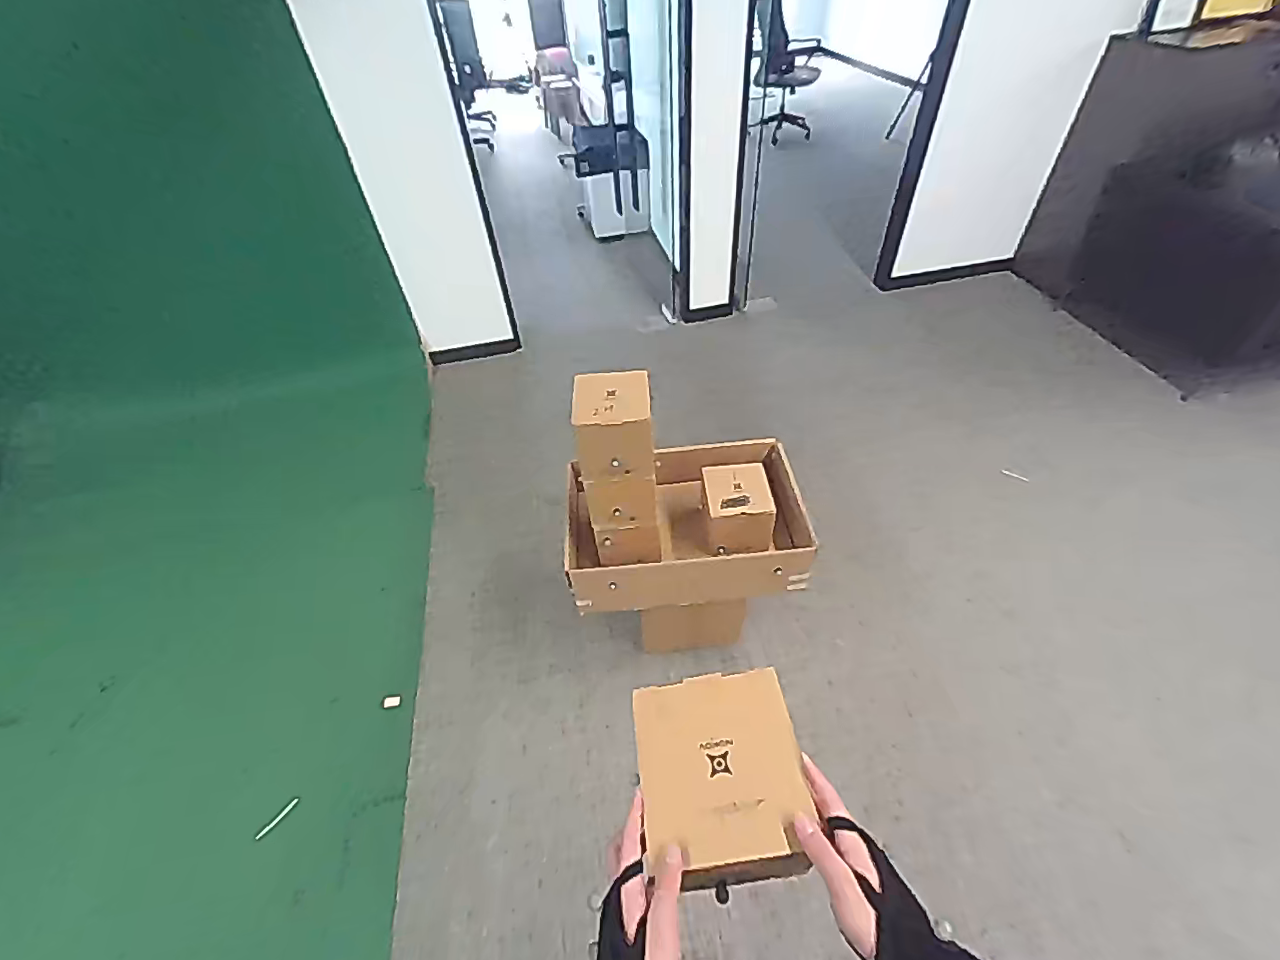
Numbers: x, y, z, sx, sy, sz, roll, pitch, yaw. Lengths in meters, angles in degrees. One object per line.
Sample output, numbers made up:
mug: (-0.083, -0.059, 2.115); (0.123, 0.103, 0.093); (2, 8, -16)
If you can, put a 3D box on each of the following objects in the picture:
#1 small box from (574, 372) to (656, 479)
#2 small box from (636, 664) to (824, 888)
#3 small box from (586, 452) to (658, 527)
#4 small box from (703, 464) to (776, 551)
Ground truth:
small box: (-0.052, -0.122, 1.217); (0.168, 0.176, 0.179); (-4, 47, 2)
small box: (0.090, 0.334, 0.609); (0.168, 0.176, 0.179); (-9, 47, 2)
small box: (-0.042, -0.006, 1.334); (0.168, 0.176, 0.179); (-4, 47, 0)
small box: (0.260, 0.080, 1.451); (0.168, 0.176, 0.179); (-4, 46, 1)
